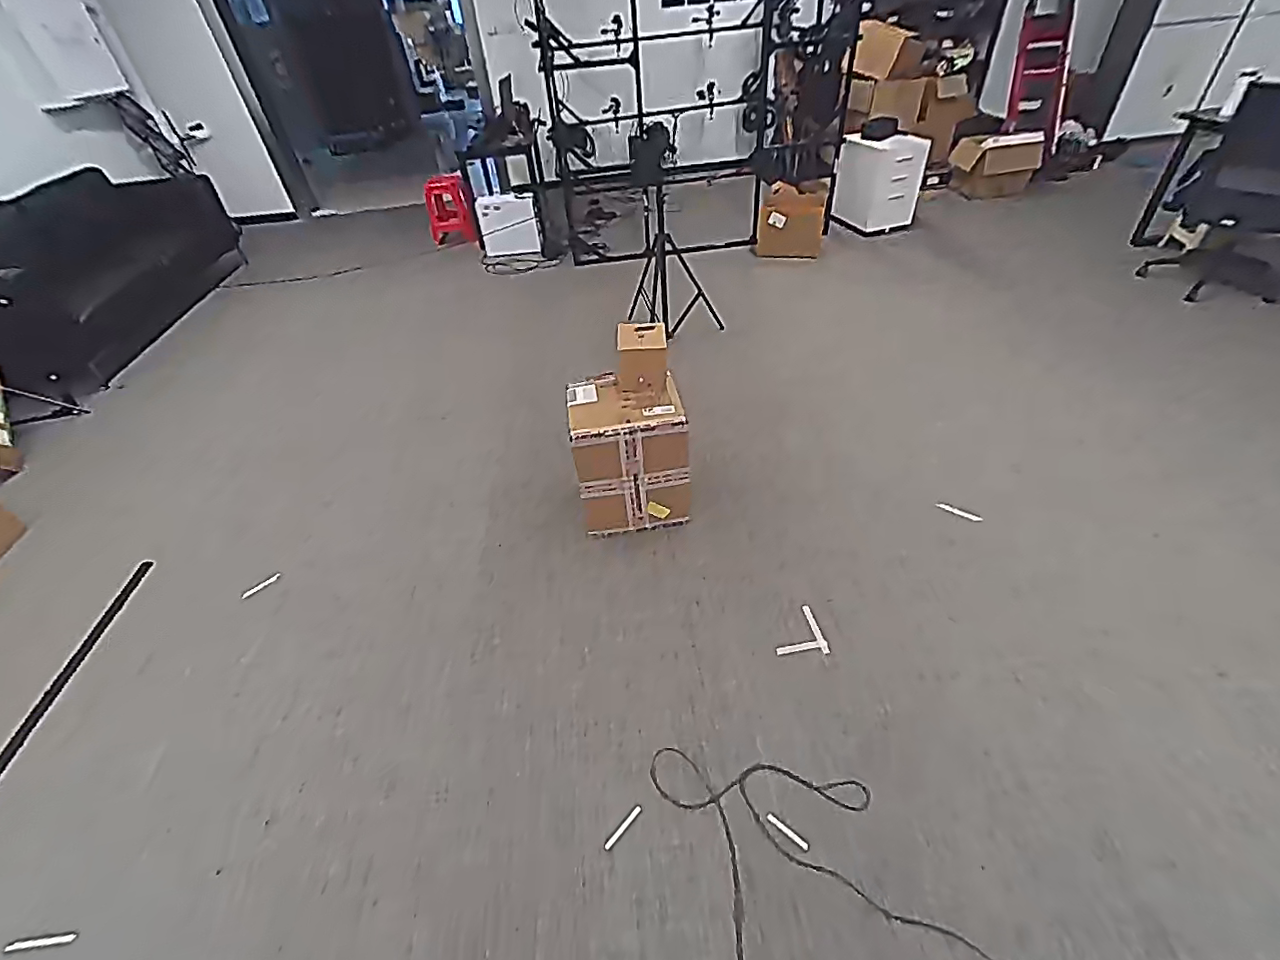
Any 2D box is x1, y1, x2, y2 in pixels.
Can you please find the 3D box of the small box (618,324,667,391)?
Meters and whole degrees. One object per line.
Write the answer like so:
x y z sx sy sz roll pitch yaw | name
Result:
0.009 -0.428 1.897 0.168 0.176 0.179 -2 44 1 | small box
